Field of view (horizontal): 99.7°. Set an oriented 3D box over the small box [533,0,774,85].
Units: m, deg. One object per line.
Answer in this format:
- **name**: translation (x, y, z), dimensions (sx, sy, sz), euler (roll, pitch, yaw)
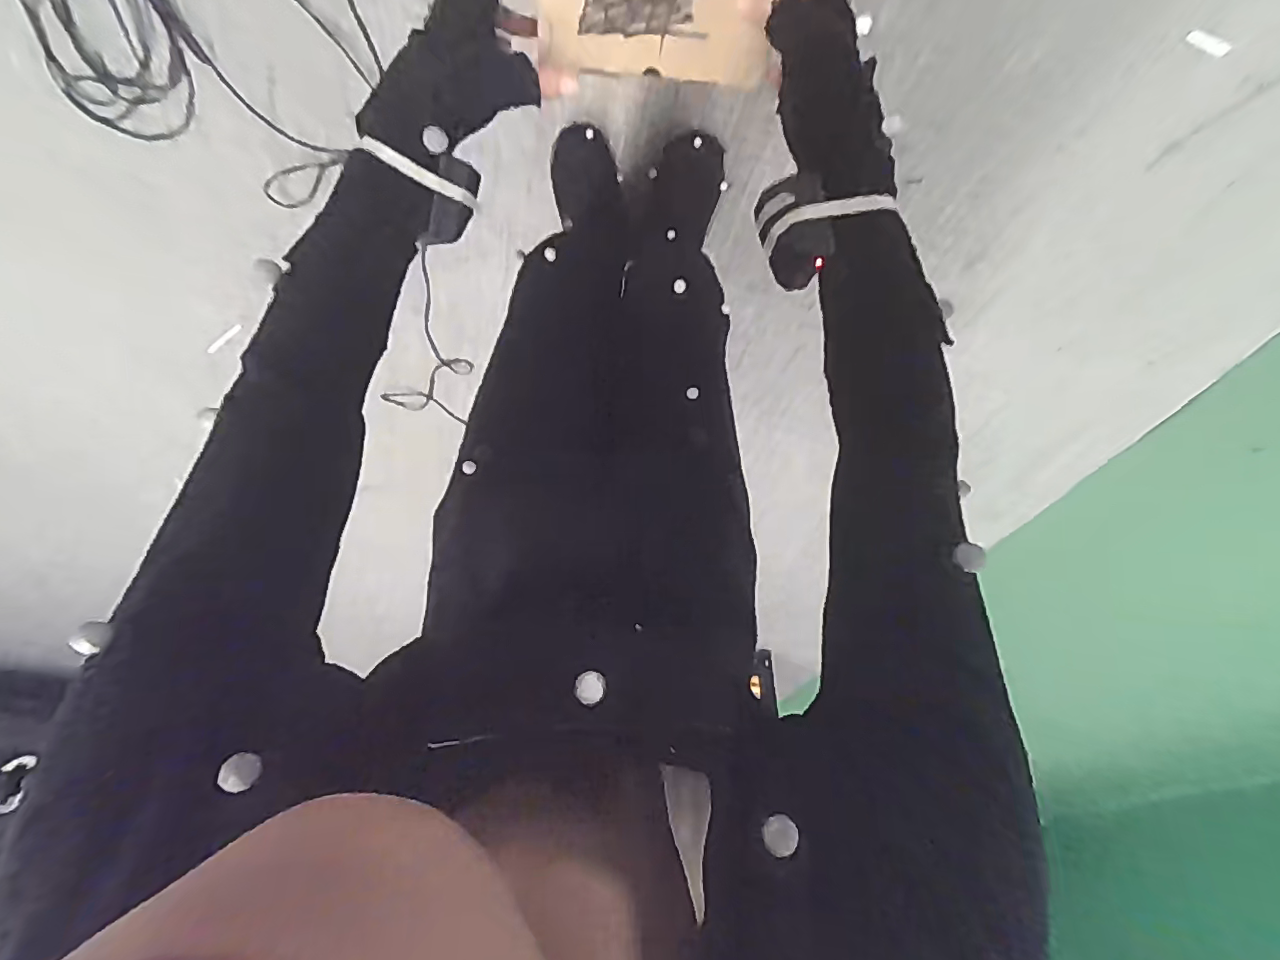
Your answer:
- **small box**: translation (0.012, -0.416, 0.379), dimensions (0.168, 0.176, 0.179), euler (1, 142, -6)
